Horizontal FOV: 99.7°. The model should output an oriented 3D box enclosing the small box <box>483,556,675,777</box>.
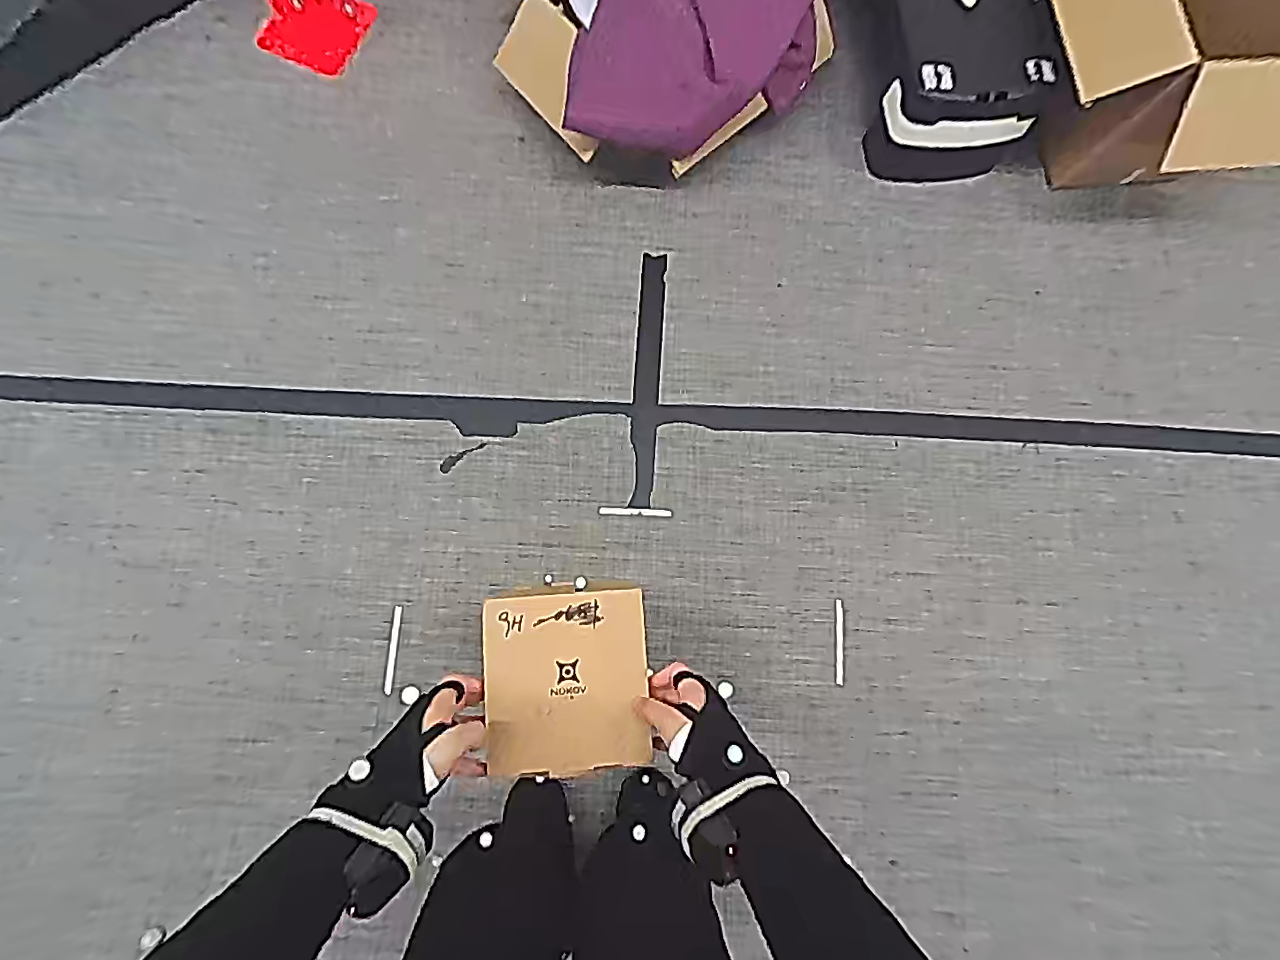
[{"bbox_3d":[-0.059,0.173,0.554,0.168,0.176,0.179,-3,83,-5],"label":"small box"}]
